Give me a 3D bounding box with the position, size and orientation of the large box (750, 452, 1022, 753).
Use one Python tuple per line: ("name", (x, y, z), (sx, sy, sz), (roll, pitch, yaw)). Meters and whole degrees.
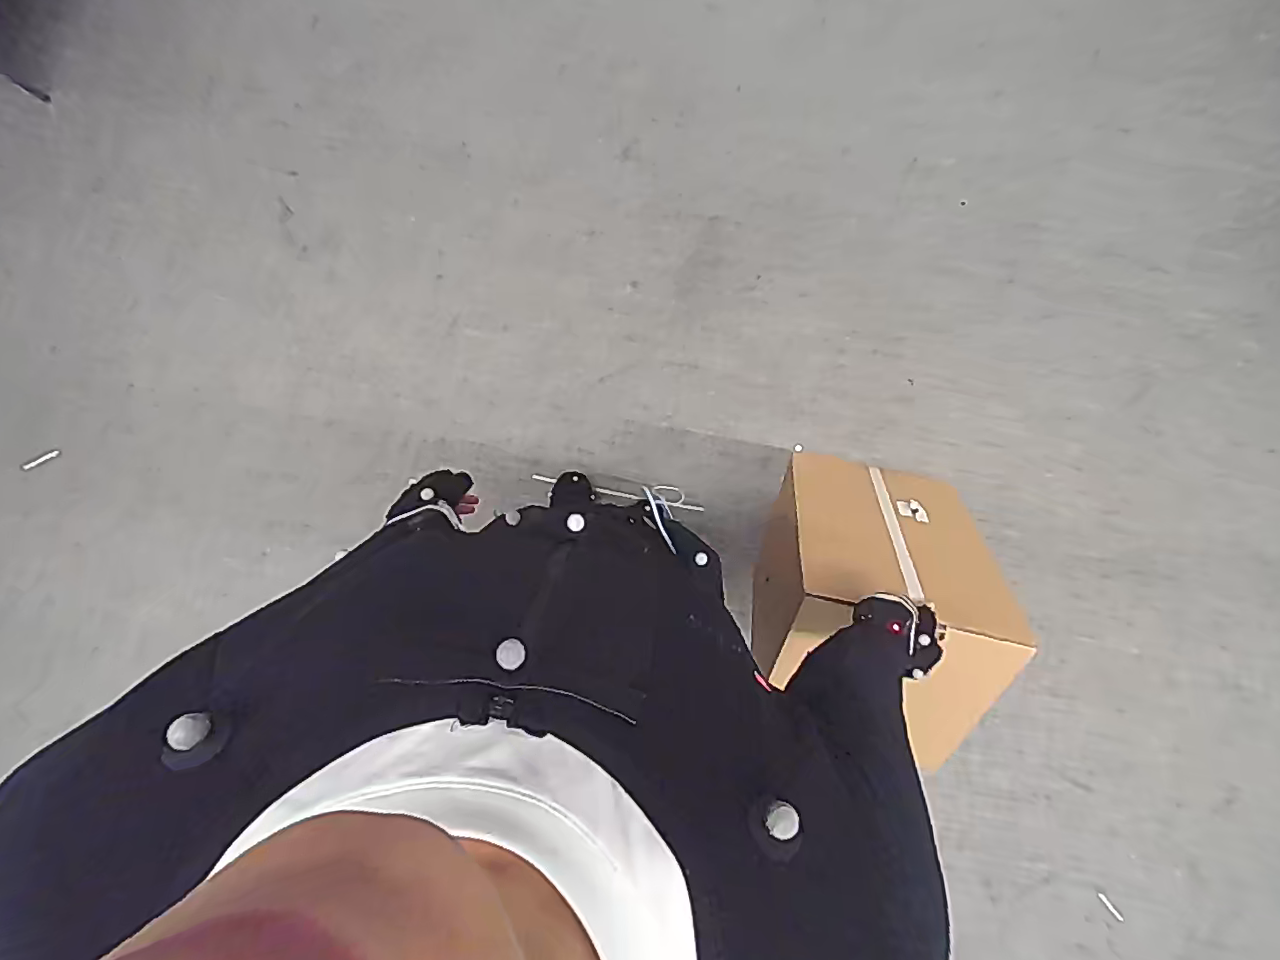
("large box", (0.387, 0.202, 0.986), (0.320, 0.408, 0.320), (14, 123, 5))
